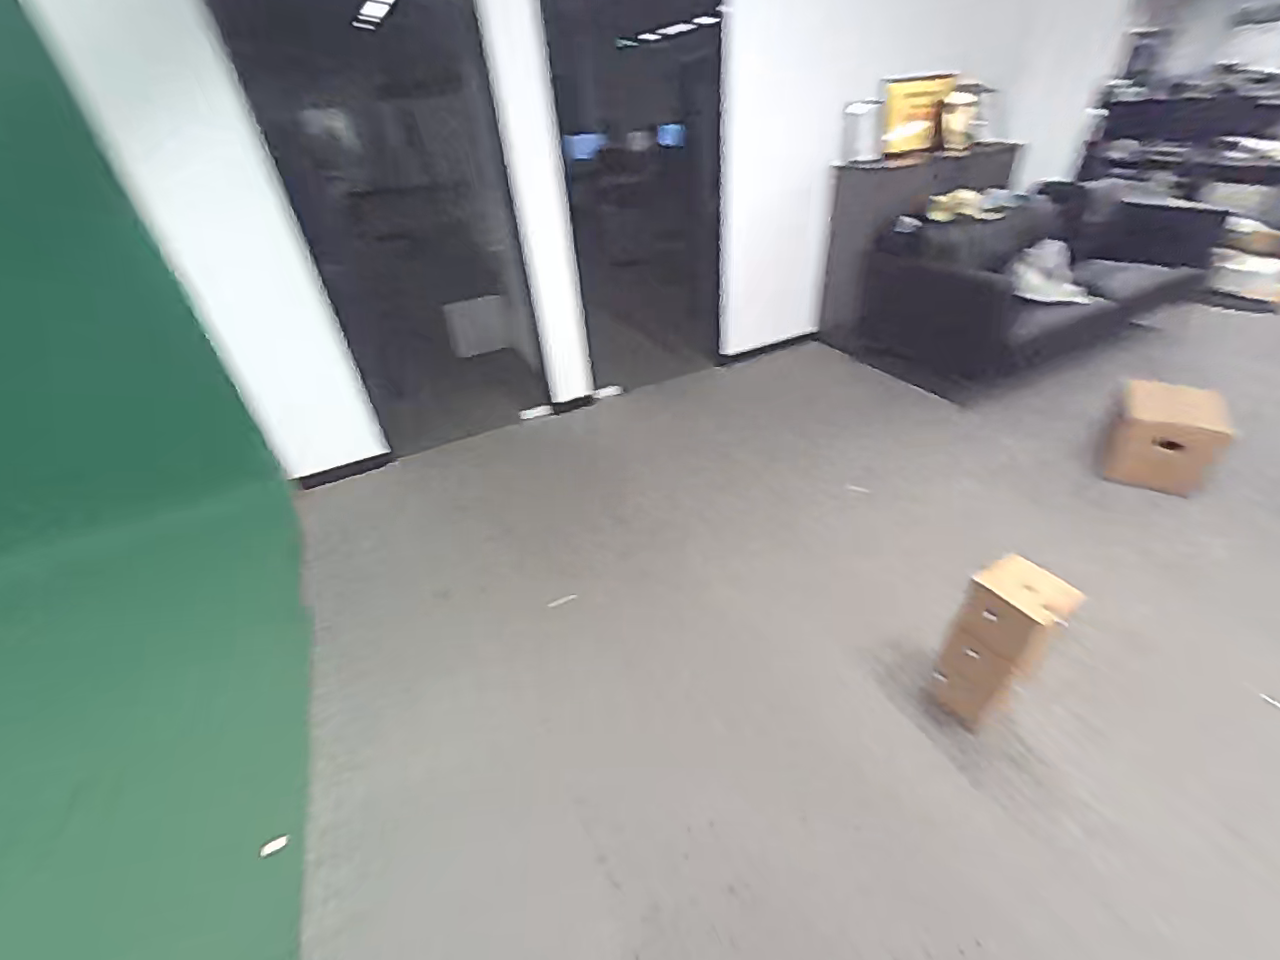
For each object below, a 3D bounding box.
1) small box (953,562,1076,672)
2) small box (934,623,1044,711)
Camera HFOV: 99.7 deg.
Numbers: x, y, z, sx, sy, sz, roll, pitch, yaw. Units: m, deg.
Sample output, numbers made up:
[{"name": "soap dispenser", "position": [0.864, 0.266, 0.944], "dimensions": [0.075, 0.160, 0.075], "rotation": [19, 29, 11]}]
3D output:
[{"name": "small box", "position": [0.931, 0.343, 1.361], "dimensions": [0.168, 0.176, 0.179], "rotation": [-20, 37, -21]}, {"name": "small box", "position": [0.932, 0.478, 1.456], "dimensions": [0.168, 0.176, 0.179], "rotation": [-21, 39, -21]}]
